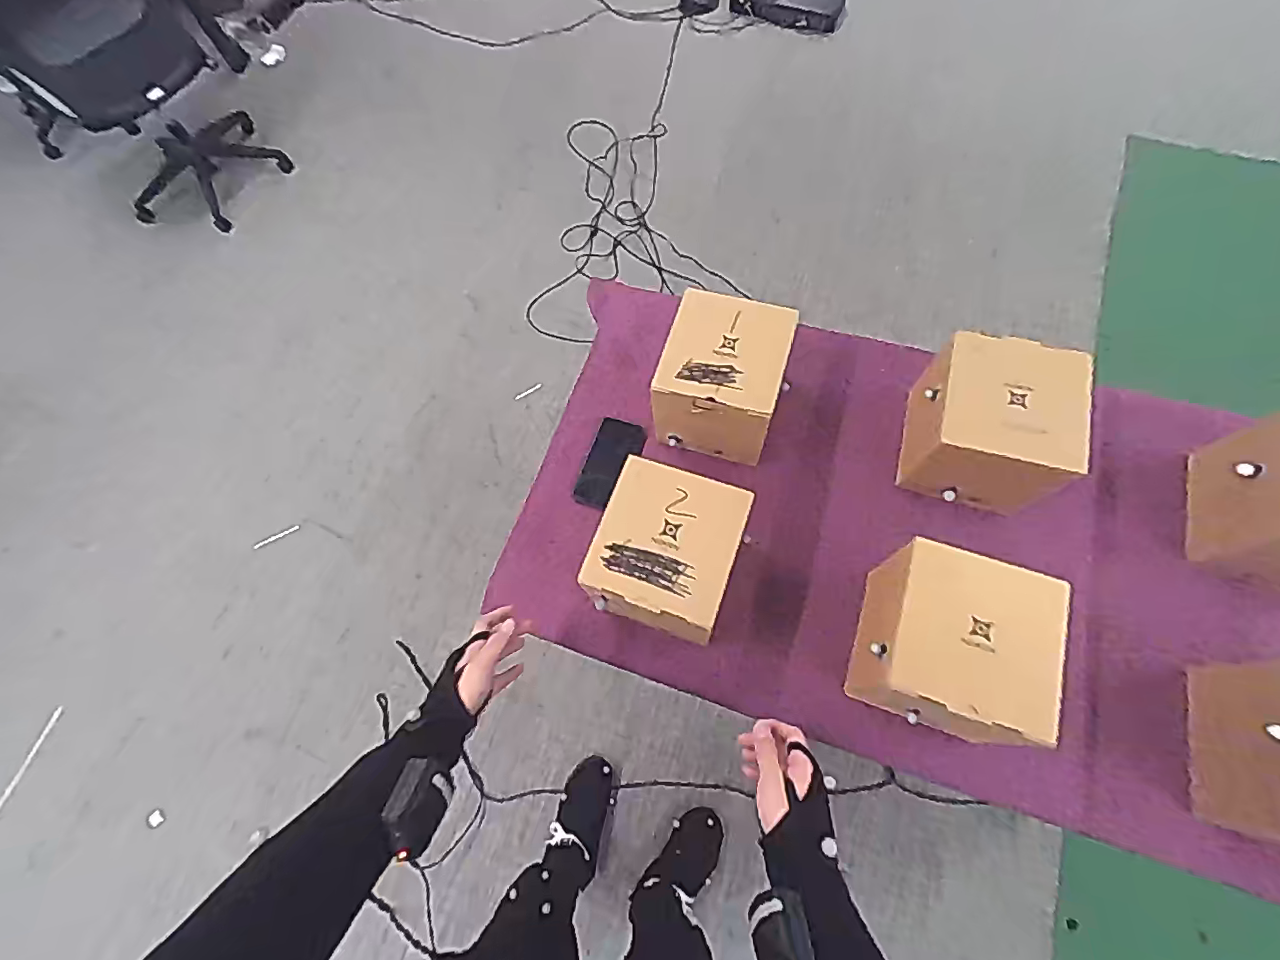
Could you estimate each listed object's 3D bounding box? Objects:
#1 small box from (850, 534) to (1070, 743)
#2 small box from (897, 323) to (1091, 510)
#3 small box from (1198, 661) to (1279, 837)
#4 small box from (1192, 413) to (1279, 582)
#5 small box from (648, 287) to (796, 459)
[{"bbox_3d":[0.367,0.190,0.646,0.168,0.176,0.179,17,70,12],"label":"small box"},{"bbox_3d":[0.474,-0.081,0.744,0.168,0.176,0.179,15,71,12],"label":"small box"},{"bbox_3d":[0.741,0.295,0.563,0.168,0.176,0.179,14,71,12],"label":"small box"},{"bbox_3d":[0.841,0.021,0.666,0.168,0.176,0.179,16,71,13],"label":"small box"},{"bbox_3d":[0.120,-0.151,0.805,0.168,0.176,0.179,15,70,11],"label":"small box"}]
